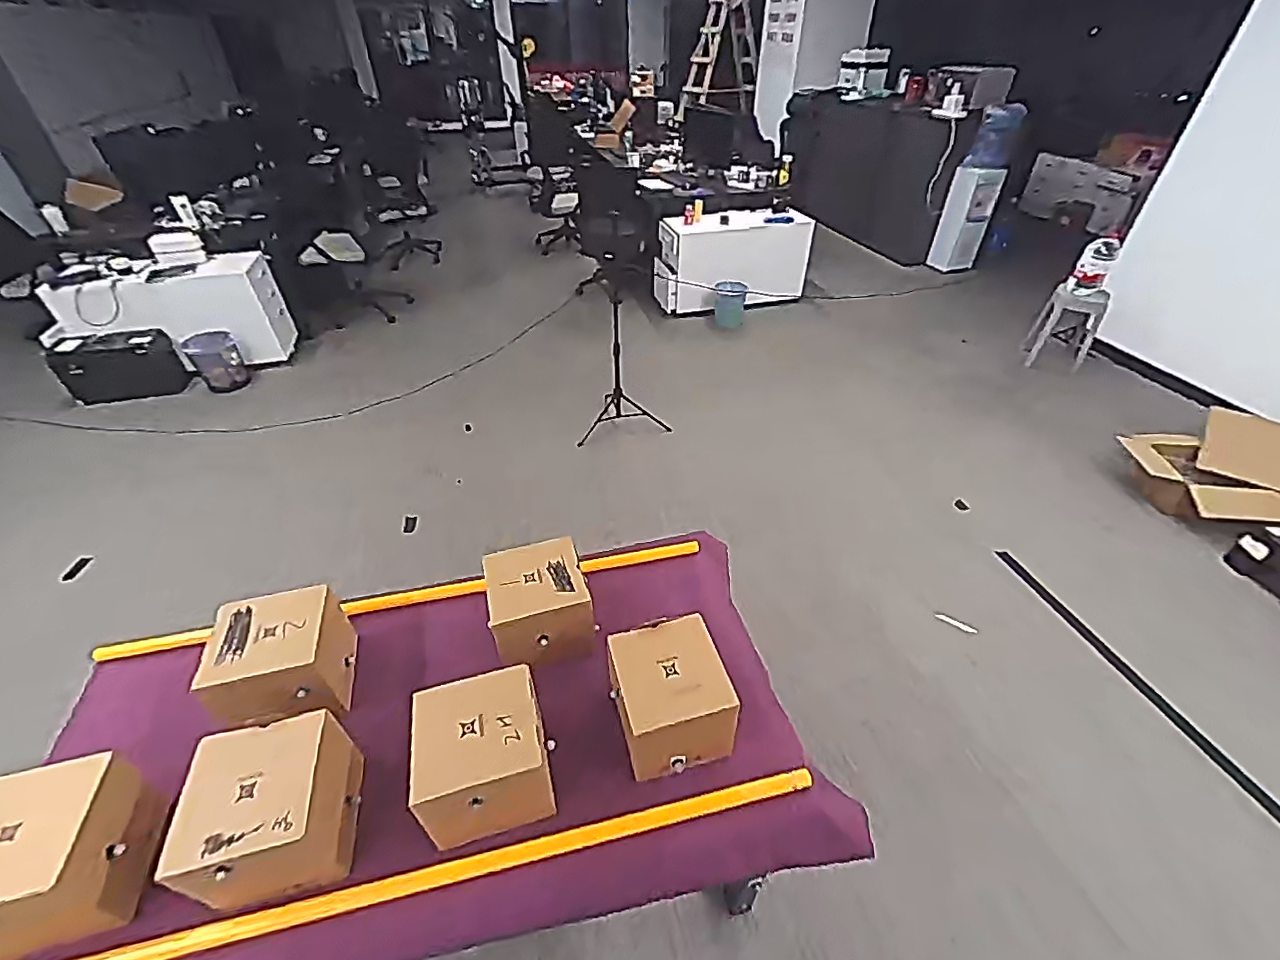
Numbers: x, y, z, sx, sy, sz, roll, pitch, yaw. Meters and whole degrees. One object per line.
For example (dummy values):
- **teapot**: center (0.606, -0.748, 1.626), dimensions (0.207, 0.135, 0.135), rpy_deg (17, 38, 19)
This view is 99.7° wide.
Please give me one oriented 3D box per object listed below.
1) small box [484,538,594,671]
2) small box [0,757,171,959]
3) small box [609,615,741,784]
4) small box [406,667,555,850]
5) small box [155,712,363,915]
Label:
- **small box**: center (-0.188, 0.241, 1.028), dimensions (0.179, 0.176, 0.168), rpy_deg (-13, 42, -12)
- **small box**: center (-0.787, 0.506, 0.720), dimensions (0.179, 0.176, 0.168), rpy_deg (-10, 40, -13)
- **small box**: center (0.050, 0.355, 0.883), dimensions (0.168, 0.176, 0.179), rpy_deg (-12, 39, -10)
- **small box**: center (-0.234, 0.419, 0.813), dimensions (0.179, 0.176, 0.168), rpy_deg (-11, 39, -12)
- **small box**: center (-0.511, 0.467, 0.762), dimensions (0.168, 0.176, 0.179), rpy_deg (-11, 40, -10)
